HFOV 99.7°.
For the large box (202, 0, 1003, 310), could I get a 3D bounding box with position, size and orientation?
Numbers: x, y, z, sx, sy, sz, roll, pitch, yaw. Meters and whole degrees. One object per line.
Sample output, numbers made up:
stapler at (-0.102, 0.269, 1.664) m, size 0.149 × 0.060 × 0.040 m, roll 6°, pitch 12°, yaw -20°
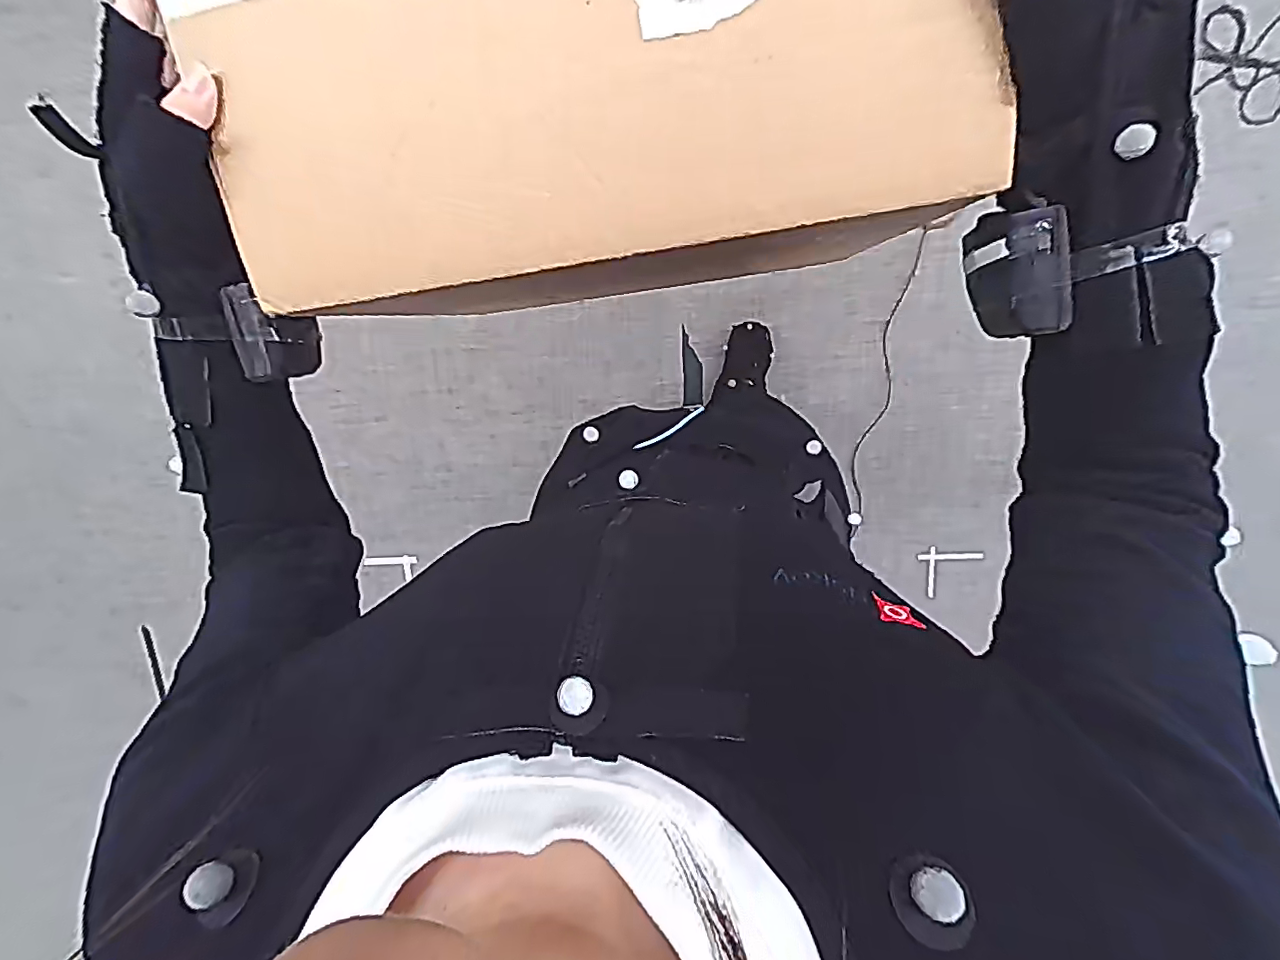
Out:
large box at (-0.024, -0.319, 0.400) m, size 0.408 × 0.320 × 0.320 m, roll -7°, pitch 106°, yaw 8°
